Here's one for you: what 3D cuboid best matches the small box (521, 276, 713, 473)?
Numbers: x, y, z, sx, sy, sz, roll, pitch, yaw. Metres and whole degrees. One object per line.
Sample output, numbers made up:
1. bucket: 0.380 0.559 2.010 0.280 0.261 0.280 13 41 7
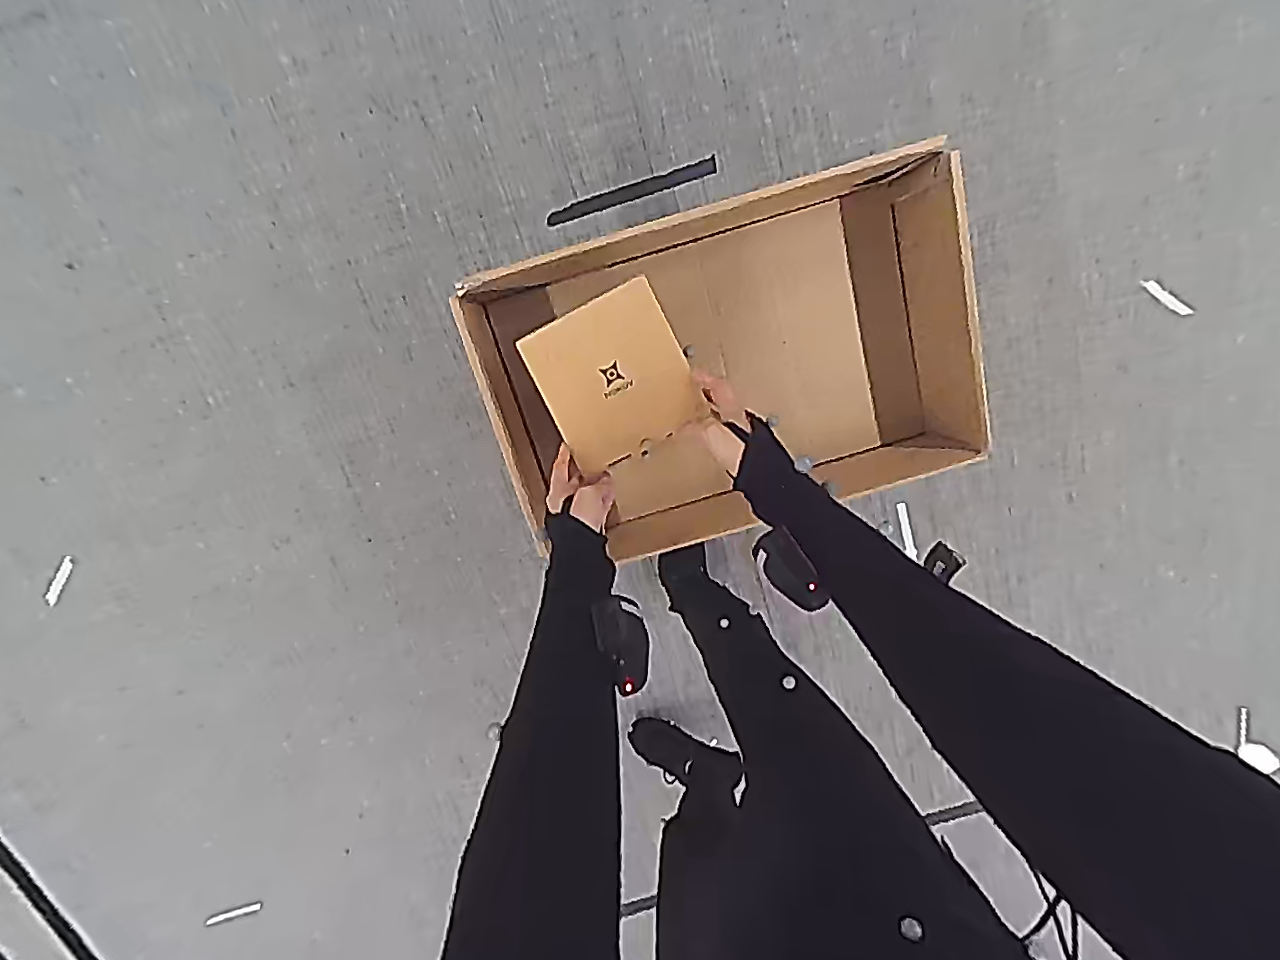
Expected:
1. small box: -0.024 -0.121 0.690 0.168 0.176 0.179 -27 91 5
